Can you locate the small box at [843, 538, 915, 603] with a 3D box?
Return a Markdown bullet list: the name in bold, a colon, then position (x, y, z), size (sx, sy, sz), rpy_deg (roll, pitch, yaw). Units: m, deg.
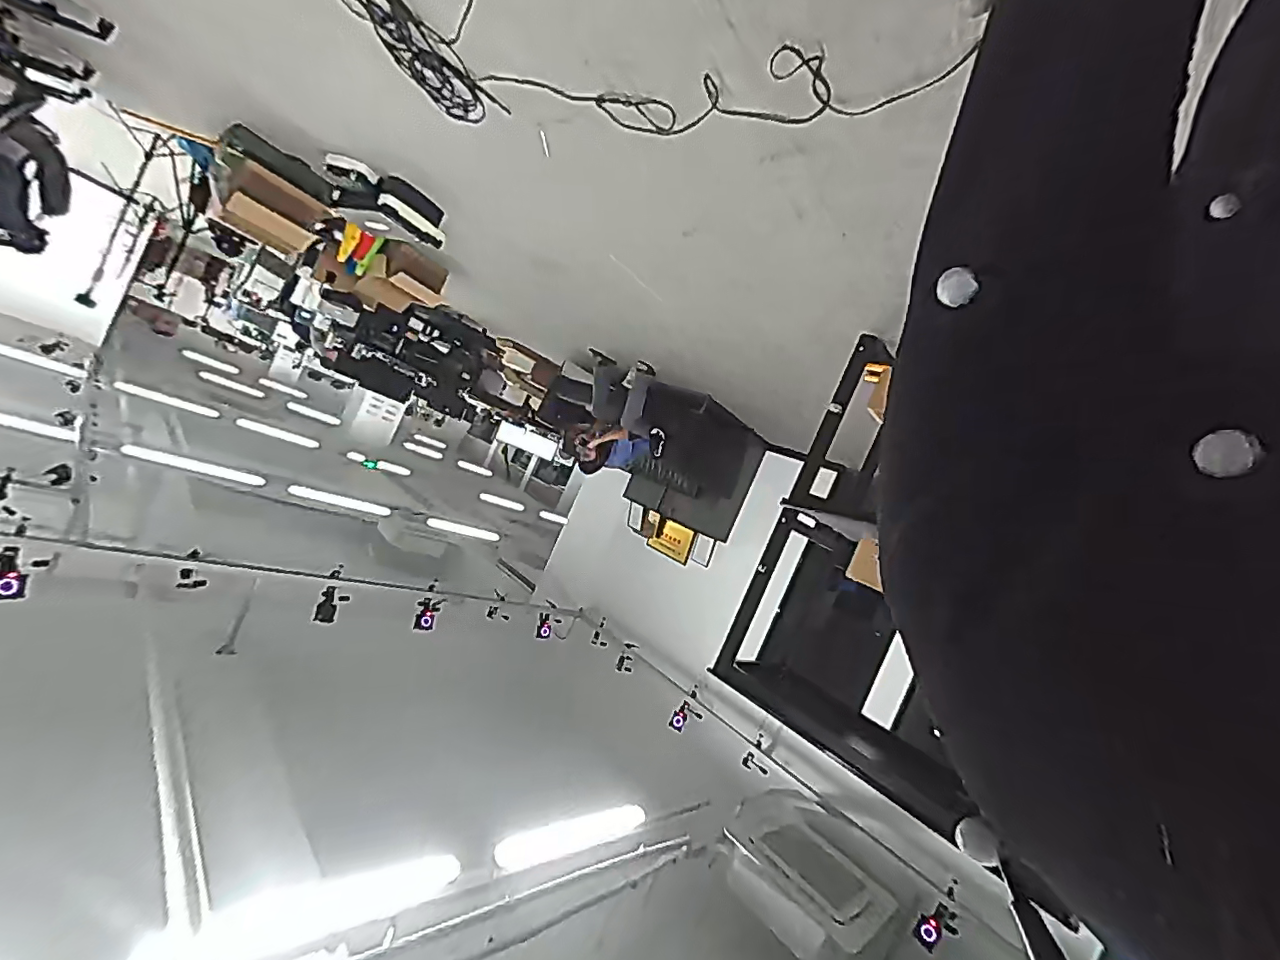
- **small box**: position (0.873, 0.328, 1.964), size (0.168, 0.176, 0.179), rpy_deg (23, 179, 43)
